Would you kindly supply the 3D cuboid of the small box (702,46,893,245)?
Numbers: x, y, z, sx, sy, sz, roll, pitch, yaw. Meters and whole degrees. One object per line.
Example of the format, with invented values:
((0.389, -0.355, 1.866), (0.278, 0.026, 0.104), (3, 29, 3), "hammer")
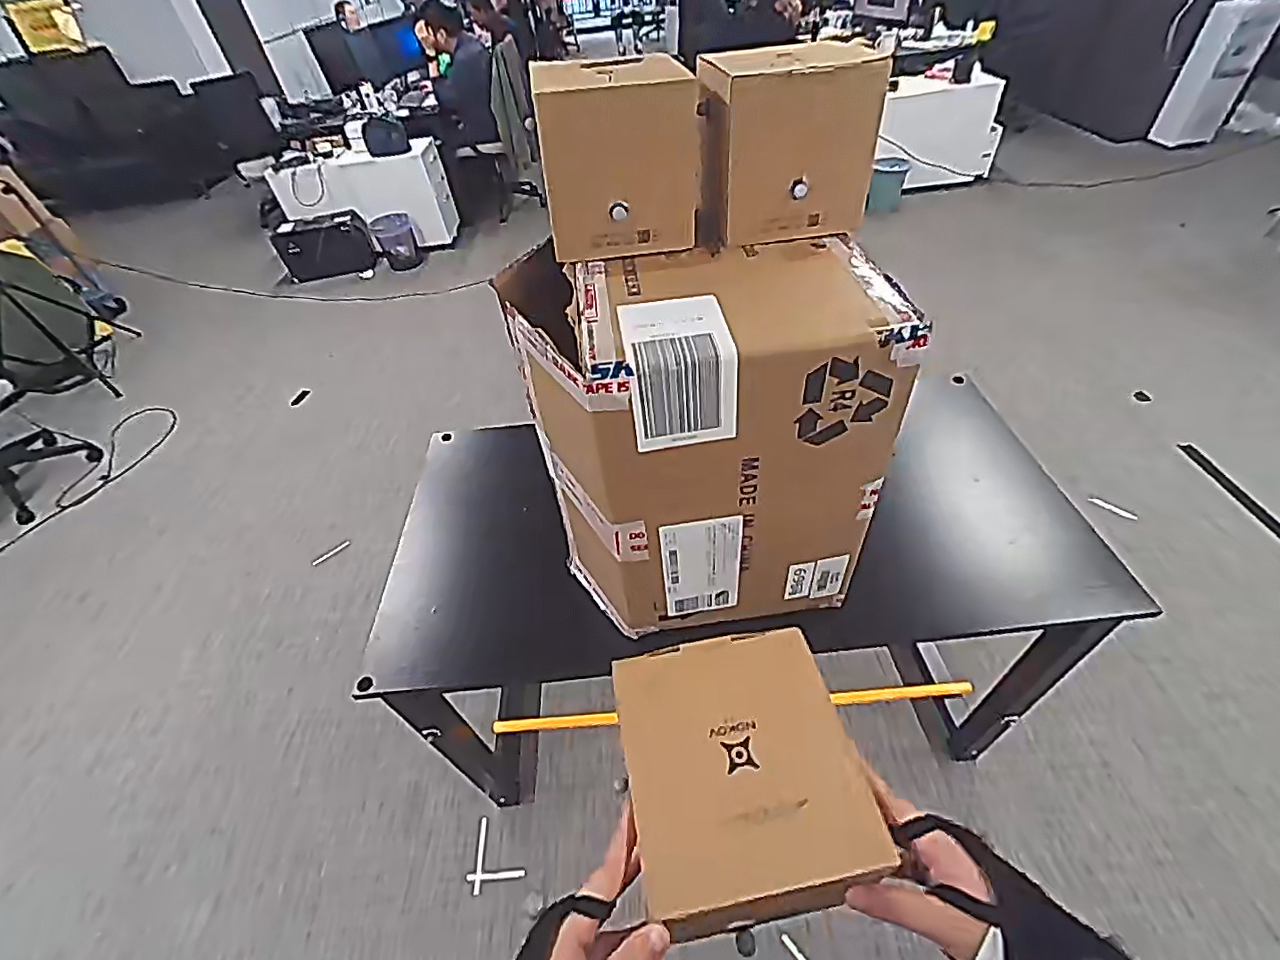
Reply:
((0.169, -0.401, 0.650), (0.168, 0.176, 0.179), (-8, 44, -1), "small box")

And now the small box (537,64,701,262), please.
((-0.028, -0.377, 0.644), (0.168, 0.176, 0.179), (-8, 44, -4), "small box")

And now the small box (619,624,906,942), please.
((0.077, 0.249, 0.449), (0.168, 0.176, 0.179), (-9, 46, -6), "small box")
